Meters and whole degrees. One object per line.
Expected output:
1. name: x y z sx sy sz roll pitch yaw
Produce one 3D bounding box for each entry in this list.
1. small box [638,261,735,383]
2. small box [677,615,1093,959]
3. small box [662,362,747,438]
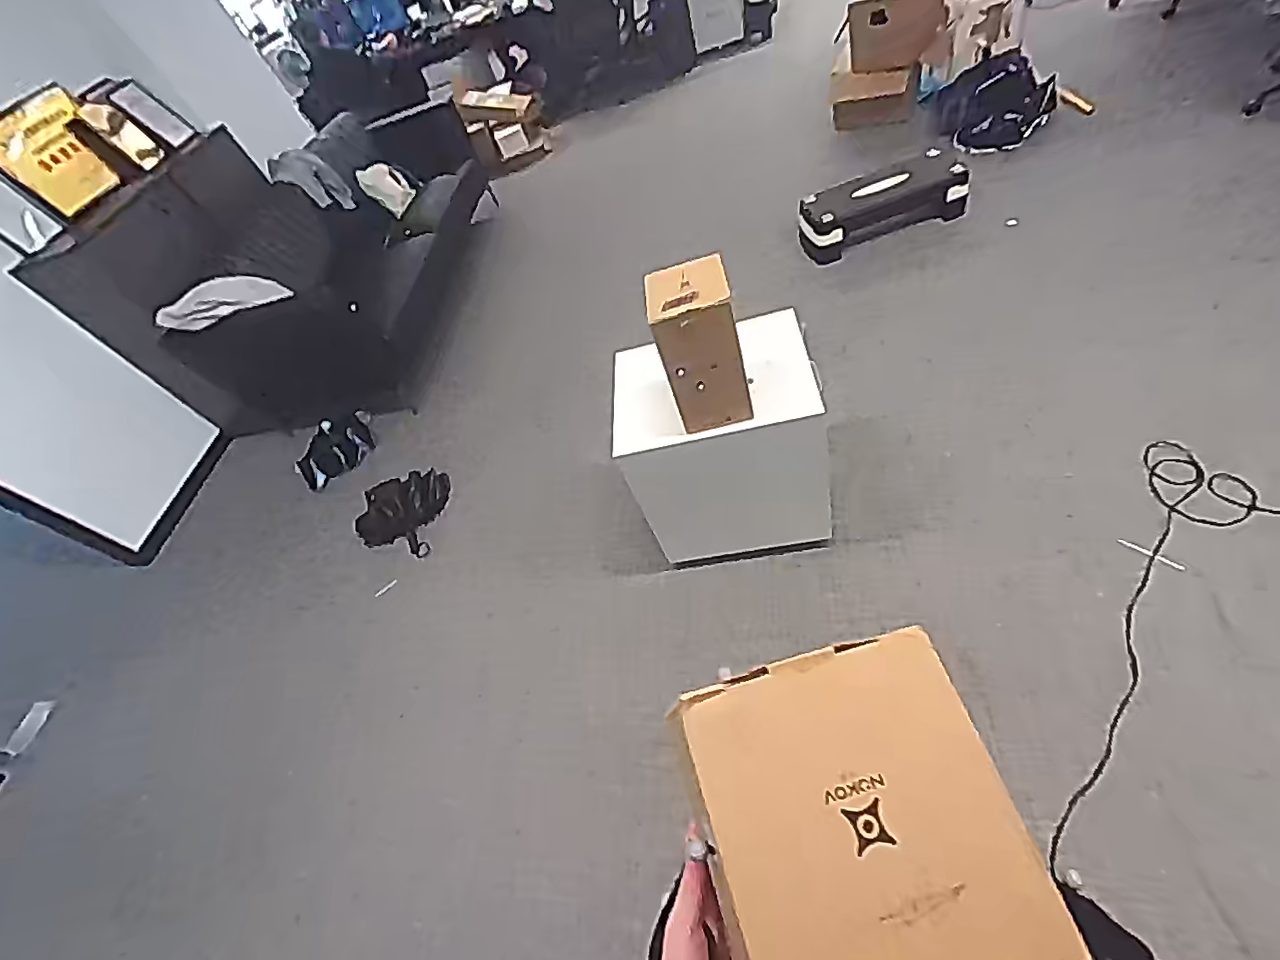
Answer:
1. small box: 0.100 -0.328 1.156 0.168 0.176 0.179 -13 48 11
2. small box: 0.129 0.216 0.371 0.168 0.176 0.179 -15 64 -7
3. small box: 0.148 -0.228 1.278 0.168 0.176 0.179 -15 48 11
